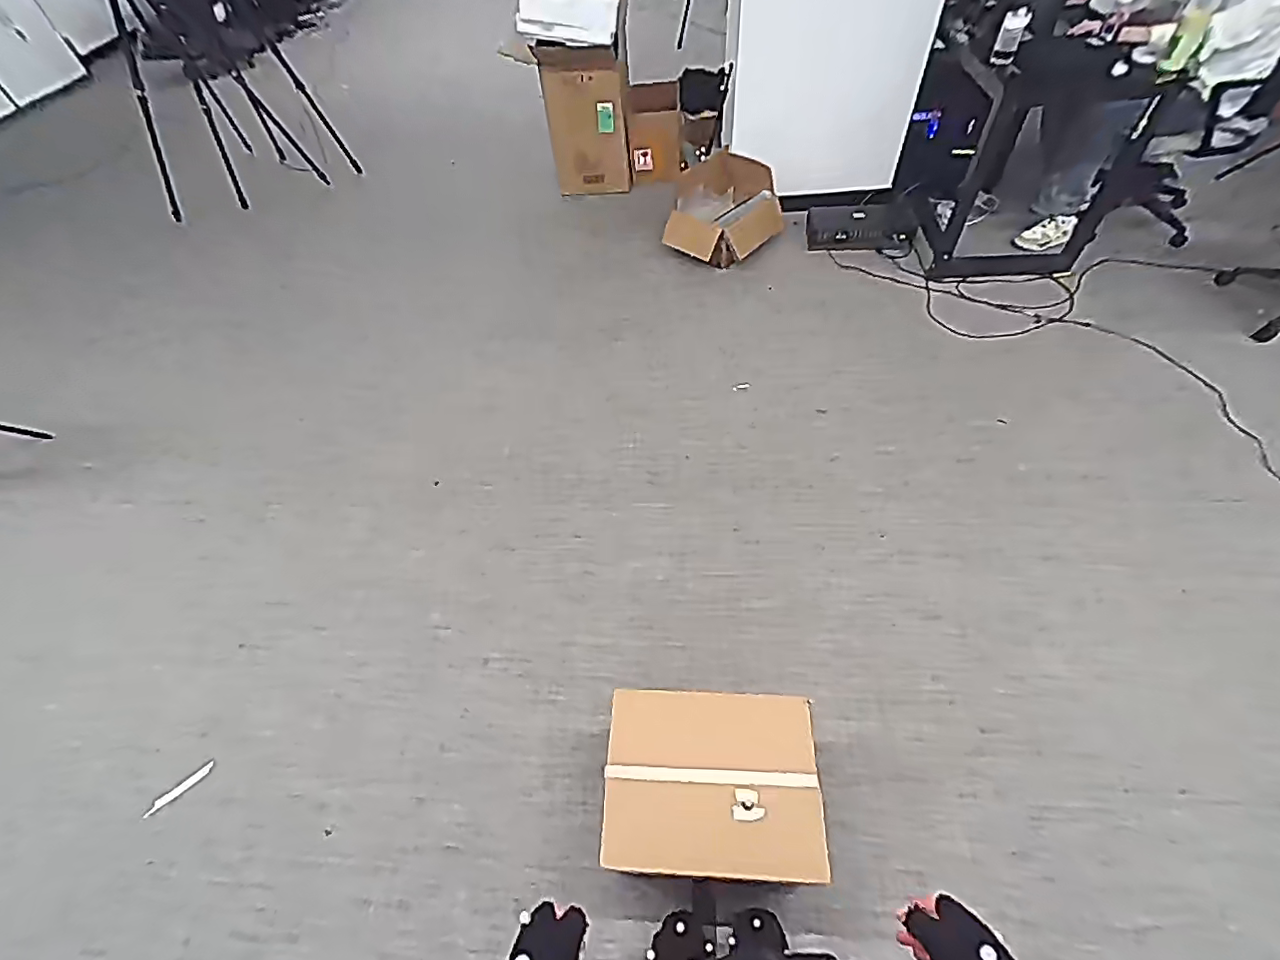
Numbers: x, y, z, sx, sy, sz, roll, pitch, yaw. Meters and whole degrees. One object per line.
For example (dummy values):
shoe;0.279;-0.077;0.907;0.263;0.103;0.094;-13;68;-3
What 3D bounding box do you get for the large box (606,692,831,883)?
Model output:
large box;0.147;0.659;1.153;0.408;0.320;0.320;0;53;4
